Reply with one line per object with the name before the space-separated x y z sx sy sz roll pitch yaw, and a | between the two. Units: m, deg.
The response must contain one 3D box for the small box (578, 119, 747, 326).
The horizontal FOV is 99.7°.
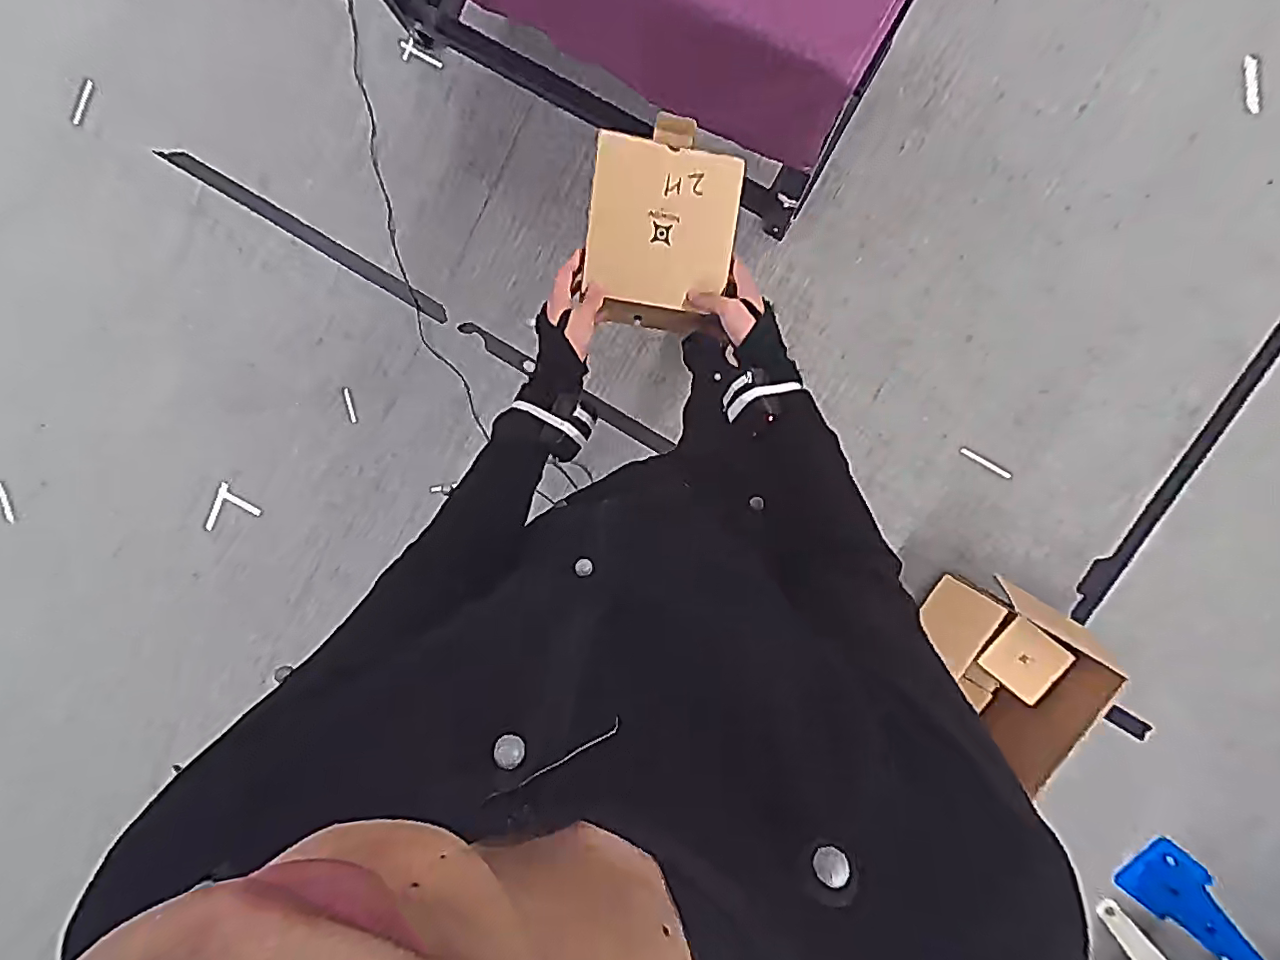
small box | 0.015 -0.297 0.669 0.168 0.176 0.179 7 97 -10
